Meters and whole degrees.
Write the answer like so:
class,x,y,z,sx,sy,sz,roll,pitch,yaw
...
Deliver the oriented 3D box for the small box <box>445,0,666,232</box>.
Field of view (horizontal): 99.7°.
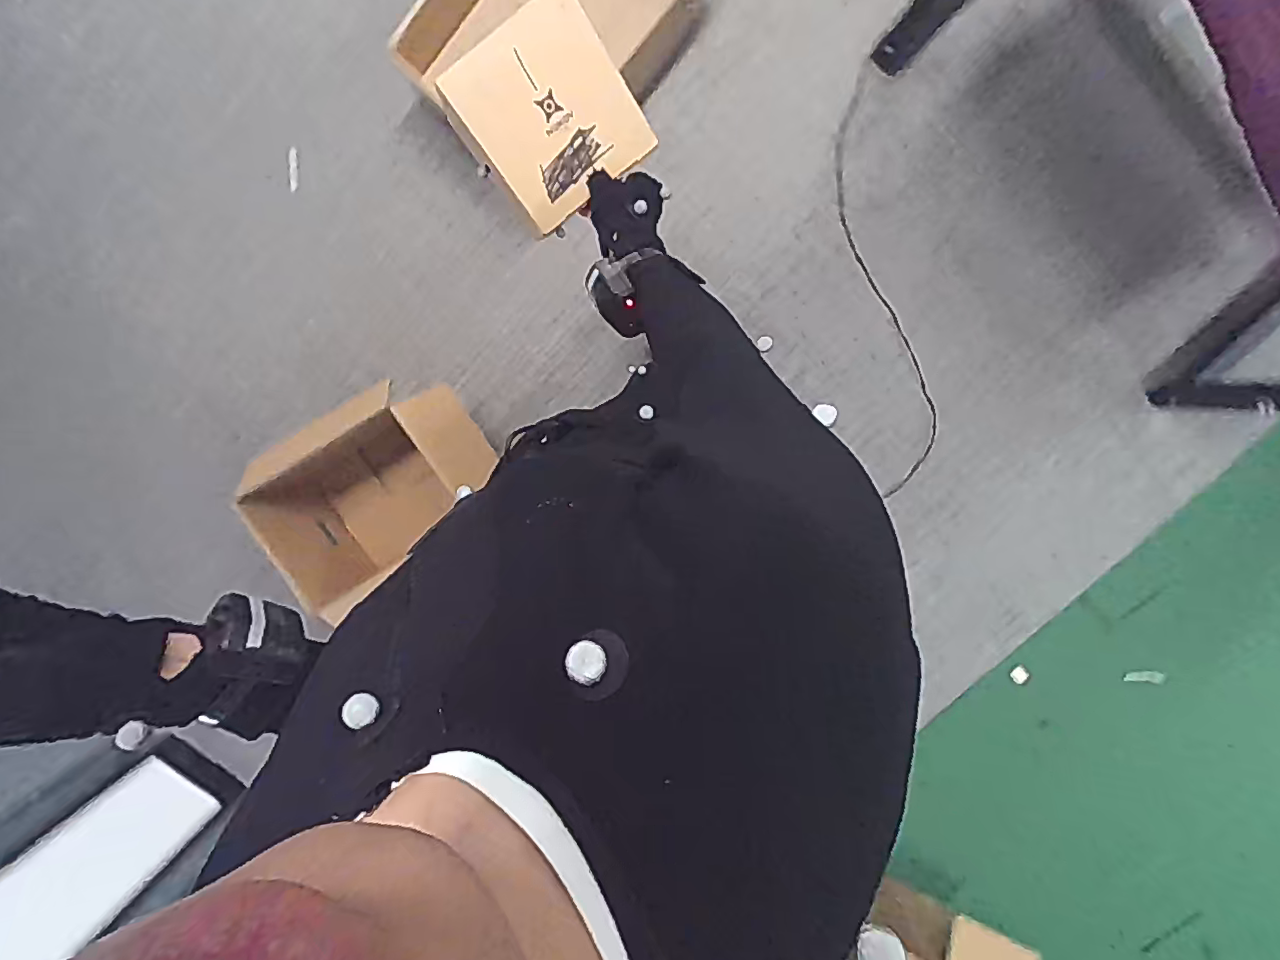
class,x,y,z,sx,sy,sz,roll,pitch,yaw
small box,-0.098,-0.416,0.634,0.168,0.176,0.179,-37,115,2
